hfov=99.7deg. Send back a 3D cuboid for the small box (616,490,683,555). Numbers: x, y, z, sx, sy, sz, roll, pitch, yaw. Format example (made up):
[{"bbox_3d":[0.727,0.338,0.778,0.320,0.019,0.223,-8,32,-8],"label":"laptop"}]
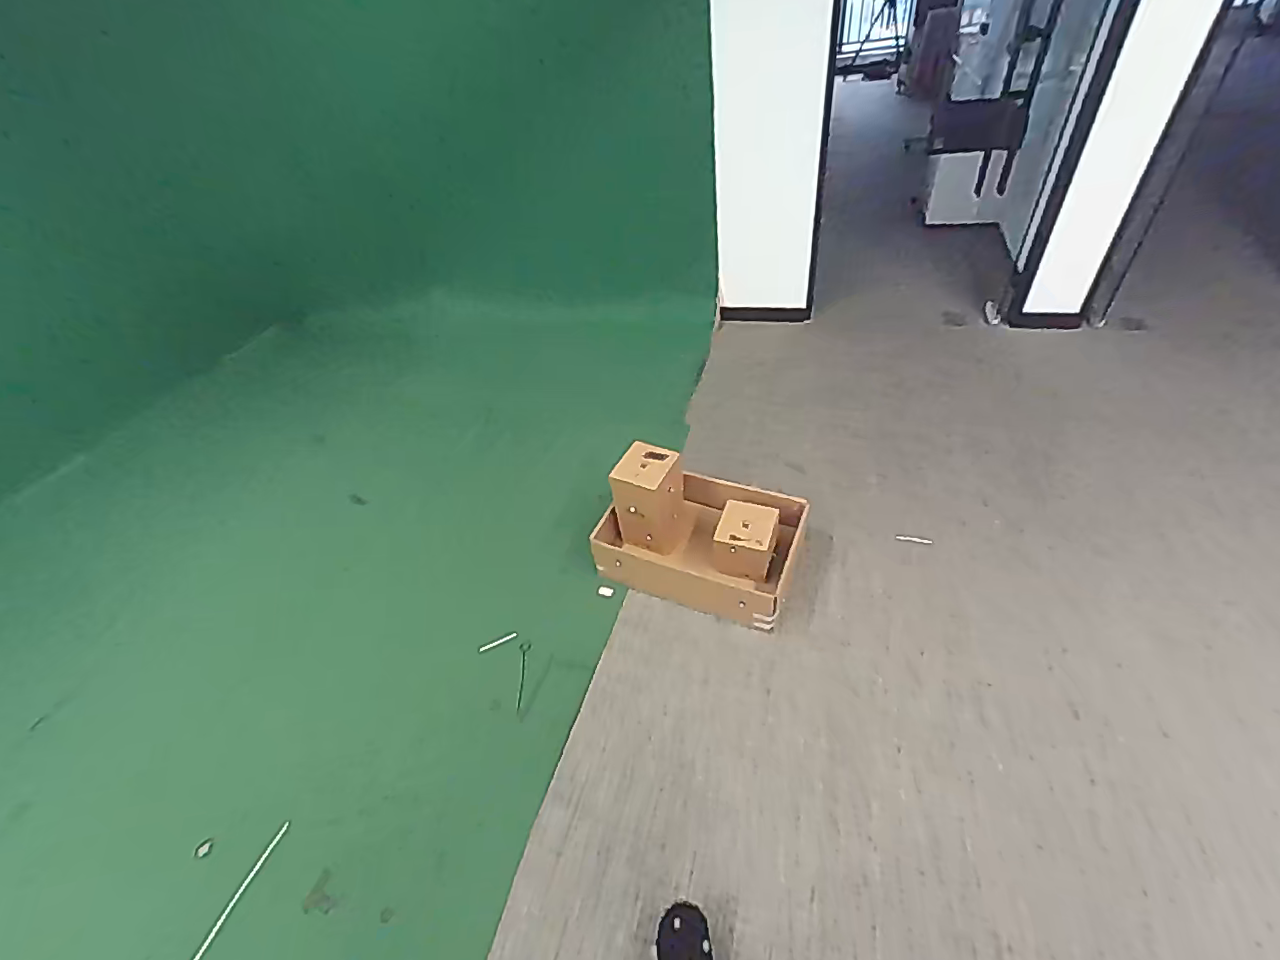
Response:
[{"bbox_3d":[0.041,0.129,1.842,0.168,0.176,0.179,16,49,23],"label":"small box"}]

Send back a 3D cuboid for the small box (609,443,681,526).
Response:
[{"bbox_3d":[0.023,0.016,1.724,0.168,0.176,0.179,17,51,24],"label":"small box"}]
